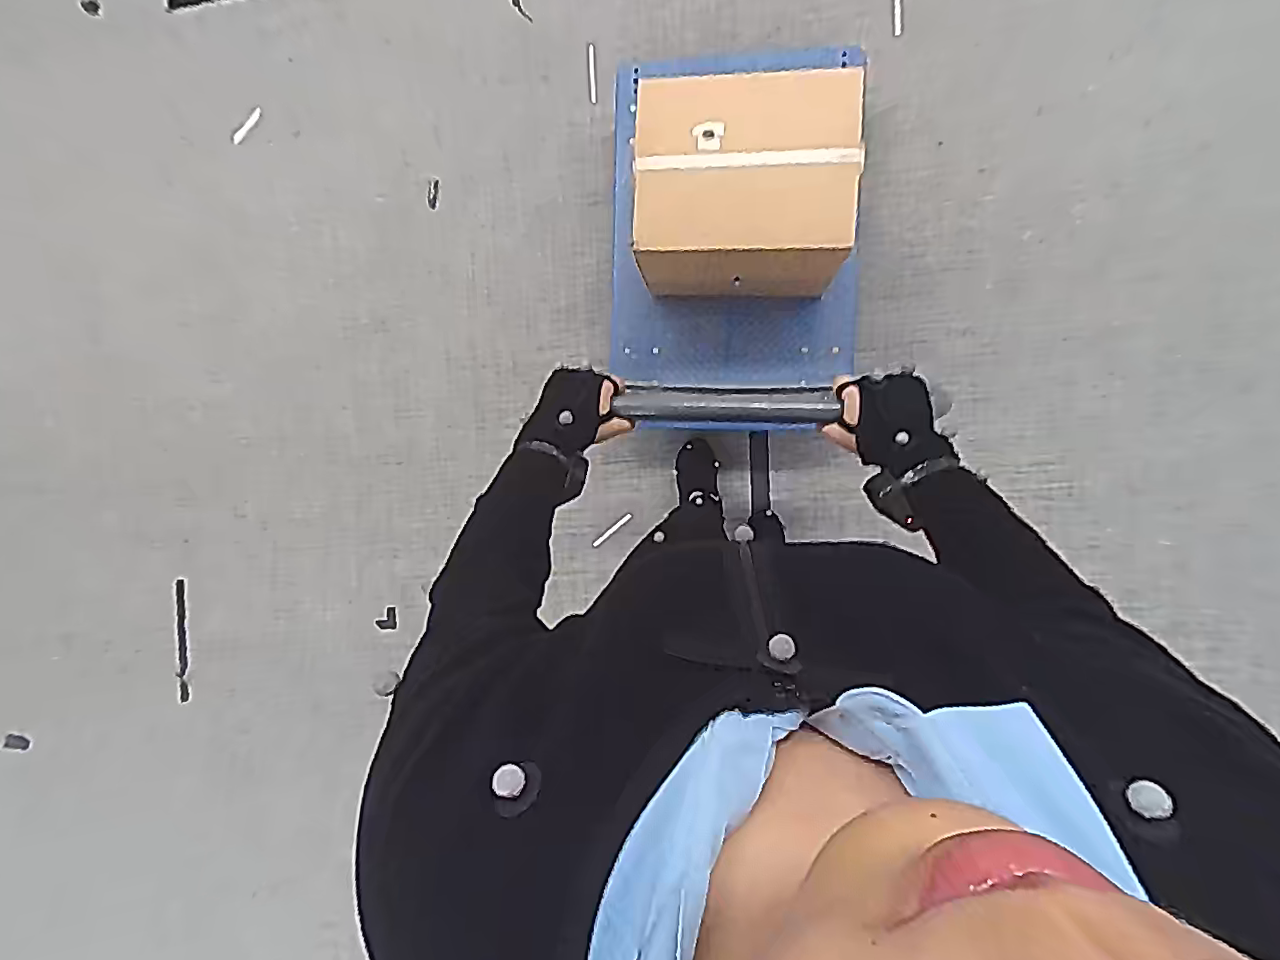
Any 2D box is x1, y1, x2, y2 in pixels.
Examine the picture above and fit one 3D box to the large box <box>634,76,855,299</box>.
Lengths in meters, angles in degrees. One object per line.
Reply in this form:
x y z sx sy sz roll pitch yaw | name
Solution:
0.213 -0.582 1.148 0.408 0.320 0.320 2 92 9 | large box
